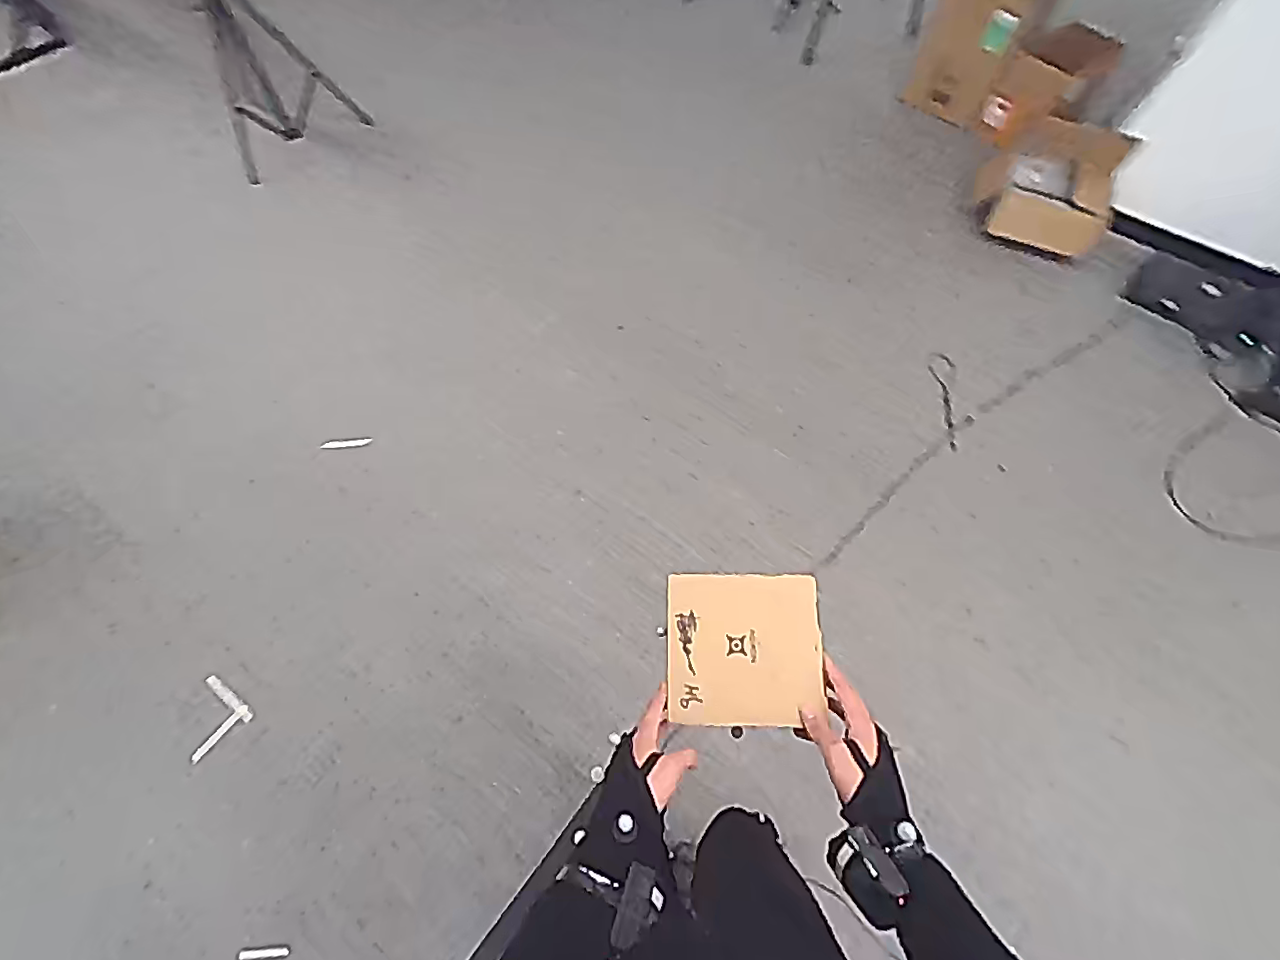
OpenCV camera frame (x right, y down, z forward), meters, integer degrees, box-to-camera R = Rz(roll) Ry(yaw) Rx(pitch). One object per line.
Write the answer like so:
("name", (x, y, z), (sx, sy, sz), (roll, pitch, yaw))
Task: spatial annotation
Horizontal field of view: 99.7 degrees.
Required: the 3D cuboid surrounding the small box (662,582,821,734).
("small box", (0.117, 0.228, 0.694), (0.179, 0.176, 0.168), (0, 68, 3))
